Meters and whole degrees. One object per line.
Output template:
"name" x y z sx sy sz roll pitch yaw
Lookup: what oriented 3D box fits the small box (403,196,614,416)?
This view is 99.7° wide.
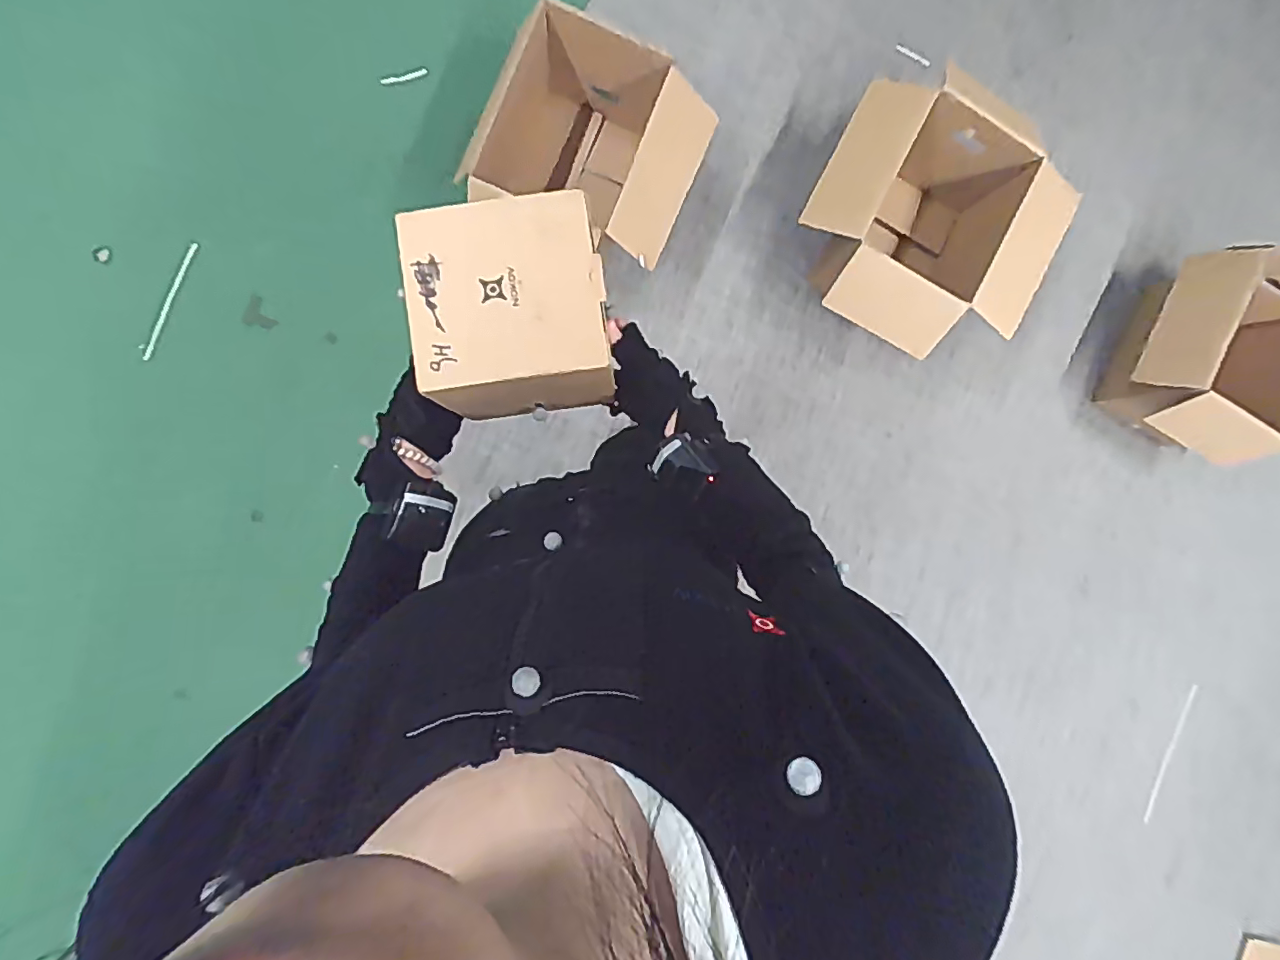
"small box" -0.124 -0.168 0.570 0.179 0.176 0.168 -7 87 -3
